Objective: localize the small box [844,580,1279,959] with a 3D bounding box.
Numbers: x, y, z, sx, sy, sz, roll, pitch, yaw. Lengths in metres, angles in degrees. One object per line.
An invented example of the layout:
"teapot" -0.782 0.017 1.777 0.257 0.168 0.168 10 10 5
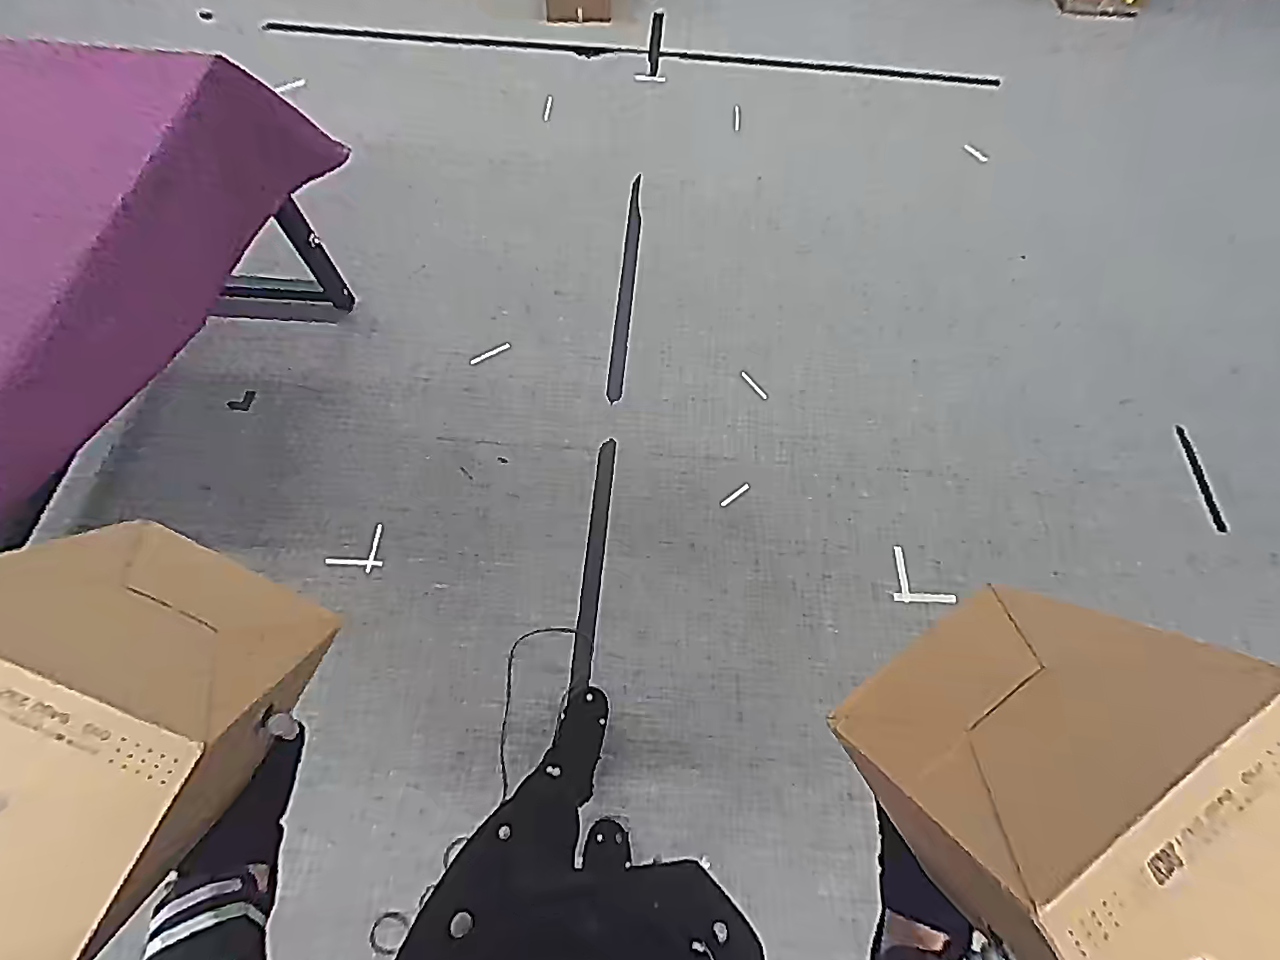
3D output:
"small box" 0.258 0.185 0.321 0.168 0.179 0.176 -33 98 -7

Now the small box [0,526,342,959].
"small box" -0.334 0.146 0.341 0.168 0.179 0.176 32 91 -8
